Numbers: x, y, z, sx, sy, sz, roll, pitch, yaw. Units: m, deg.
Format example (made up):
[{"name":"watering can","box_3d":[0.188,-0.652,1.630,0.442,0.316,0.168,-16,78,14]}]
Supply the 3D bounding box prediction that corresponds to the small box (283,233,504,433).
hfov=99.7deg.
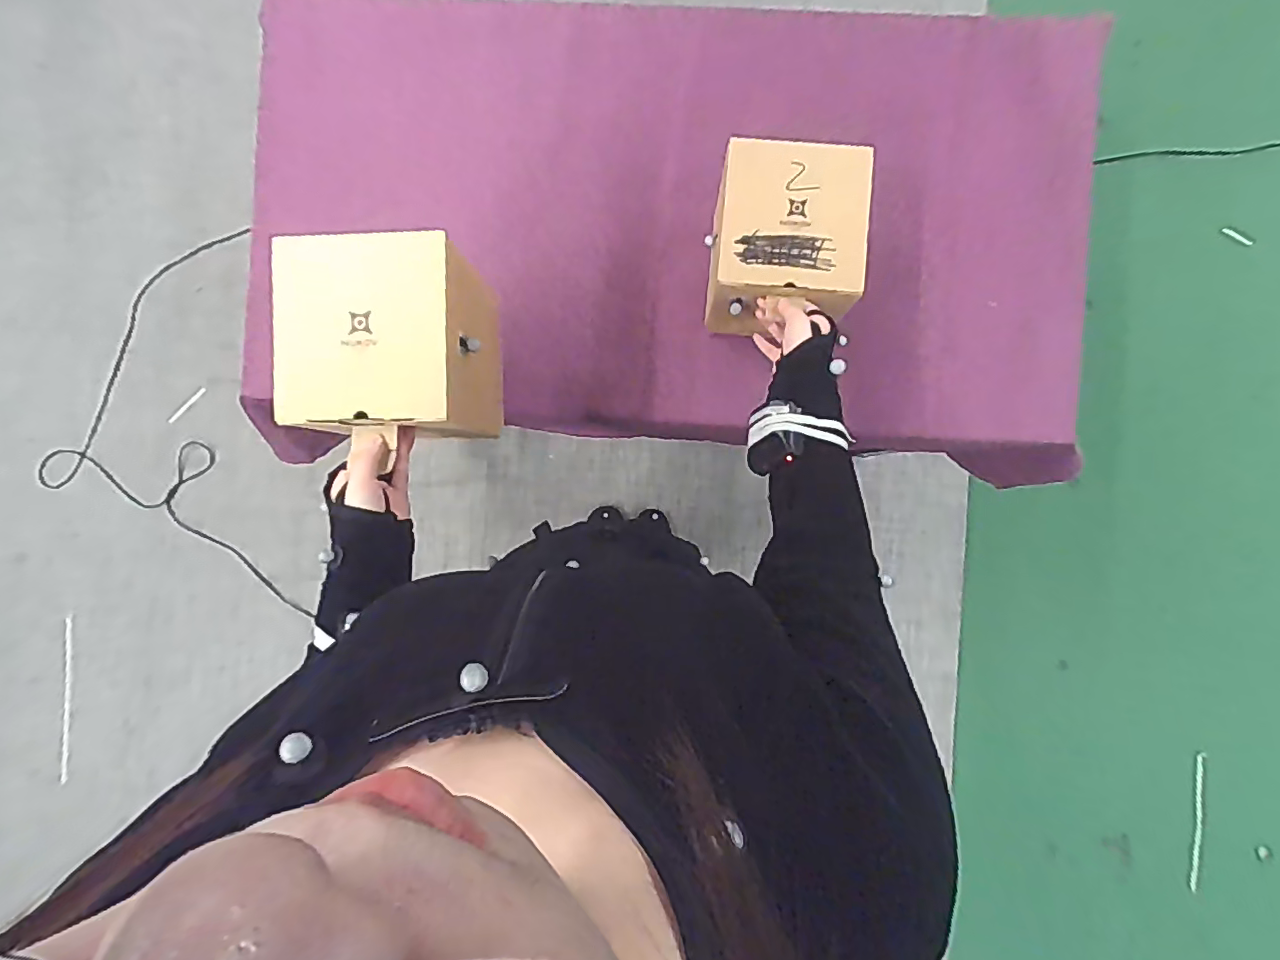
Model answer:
[{"name":"small box","box_3d":[-0.254,-0.146,0.592,0.168,0.176,0.179,0,91,3]}]
